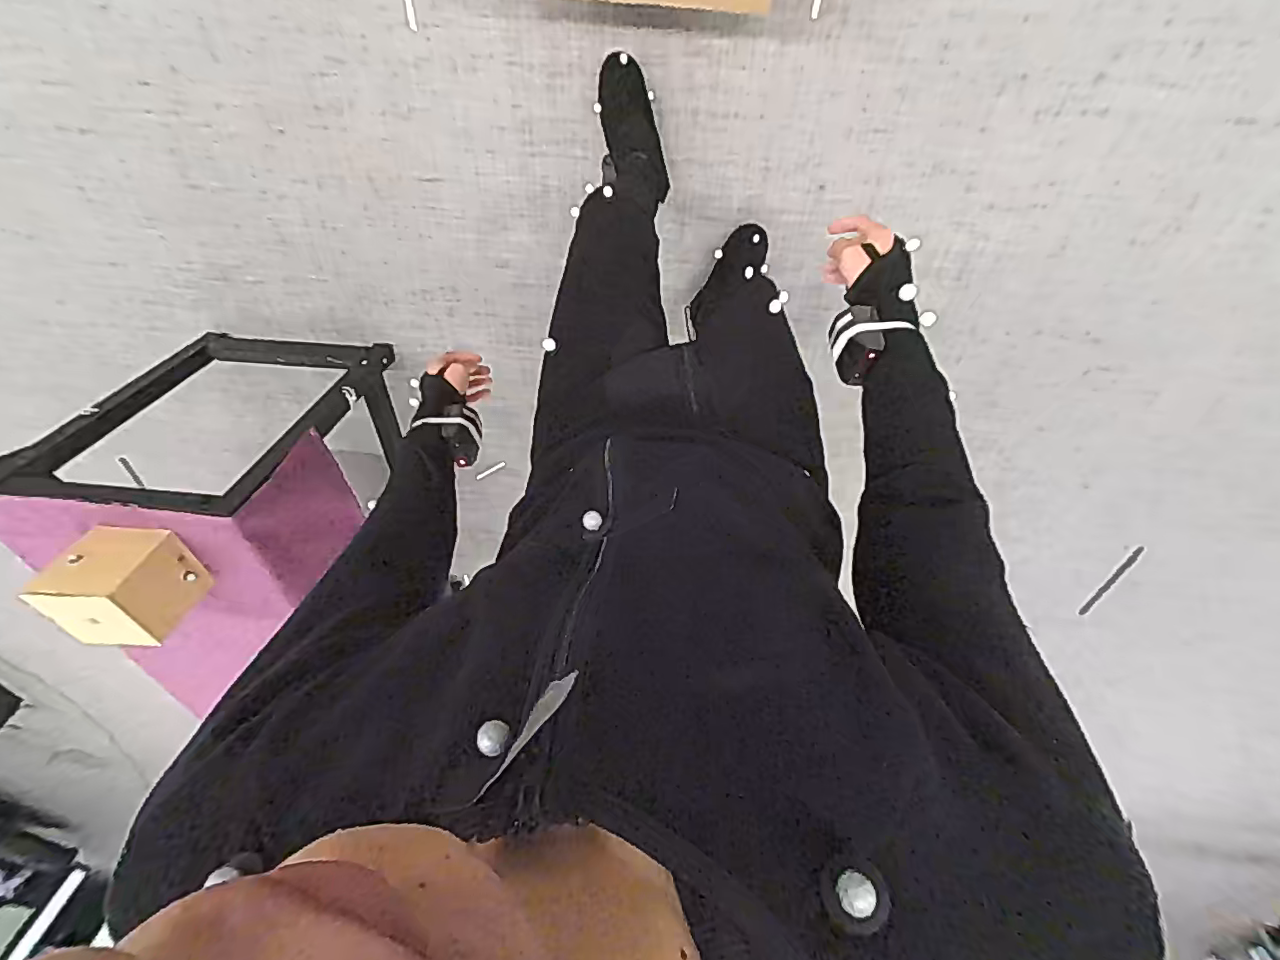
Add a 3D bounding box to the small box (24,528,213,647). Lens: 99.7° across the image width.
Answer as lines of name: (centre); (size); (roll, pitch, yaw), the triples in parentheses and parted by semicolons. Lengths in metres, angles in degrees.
small box: (-1.026, 0.212, 1.084); (0.179, 0.176, 0.168); (3, 132, 5)
